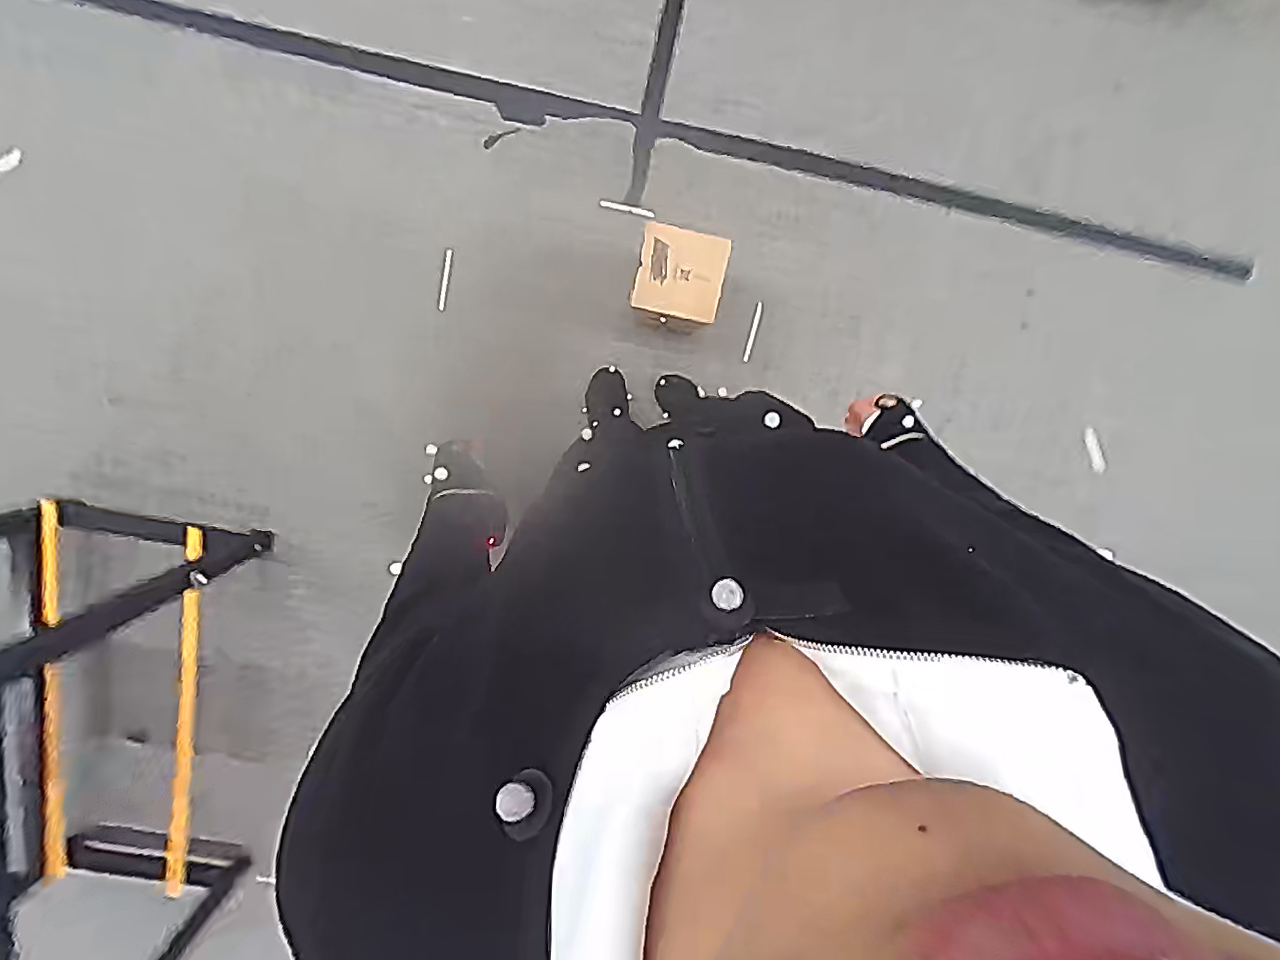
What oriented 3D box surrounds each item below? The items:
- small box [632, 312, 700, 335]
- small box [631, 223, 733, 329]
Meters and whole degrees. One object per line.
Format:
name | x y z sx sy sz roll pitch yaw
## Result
small box | 0.082 -0.459 1.315 0.168 0.176 0.179 14 103 -4
small box | 0.081 -0.423 1.153 0.179 0.176 0.168 12 102 -4
